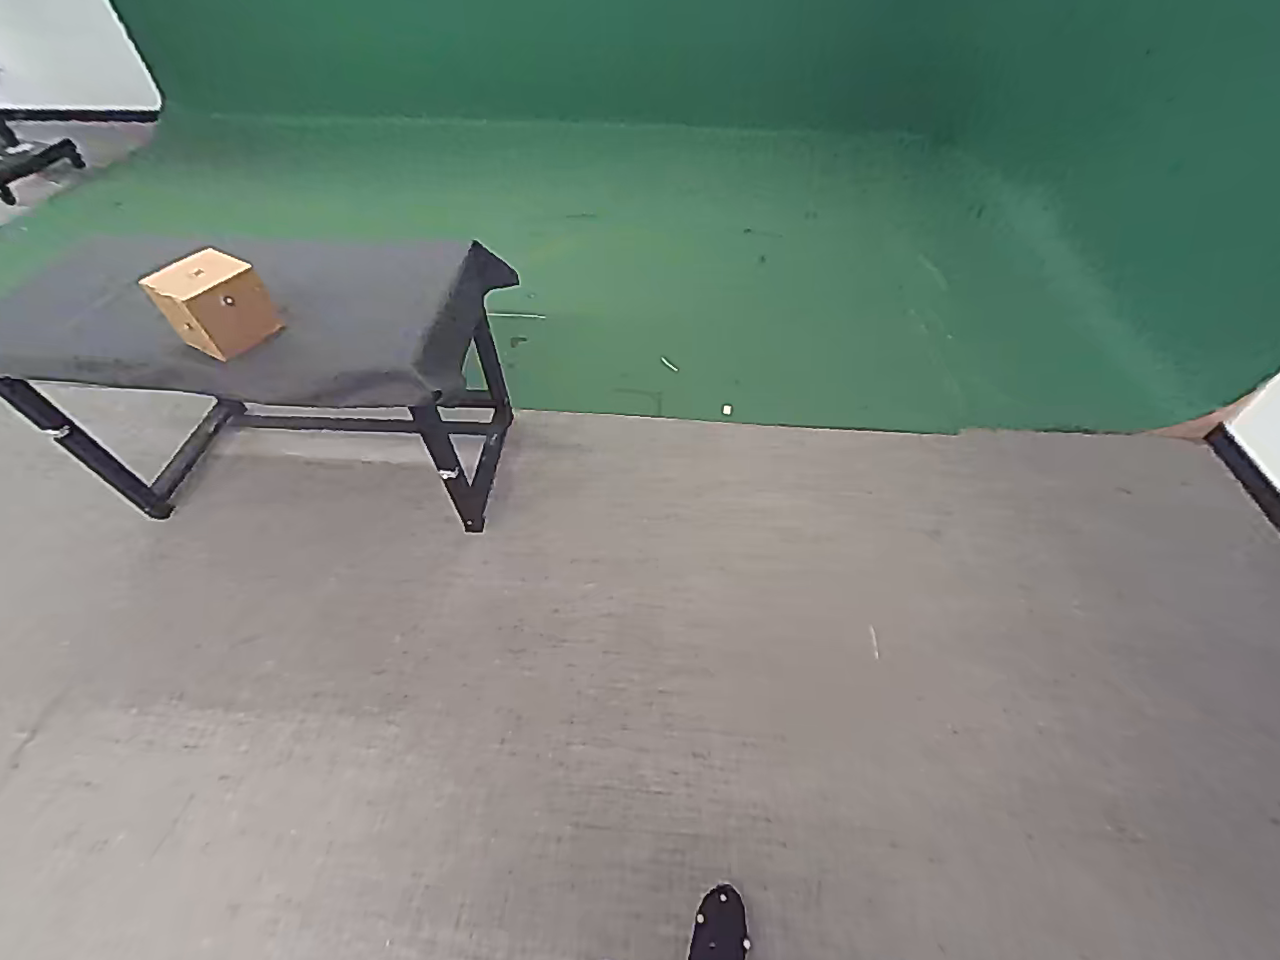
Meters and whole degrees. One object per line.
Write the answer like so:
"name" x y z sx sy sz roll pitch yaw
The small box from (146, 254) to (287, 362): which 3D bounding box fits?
"small box" -1.008 -0.412 1.304 0.168 0.176 0.179 24 54 18
